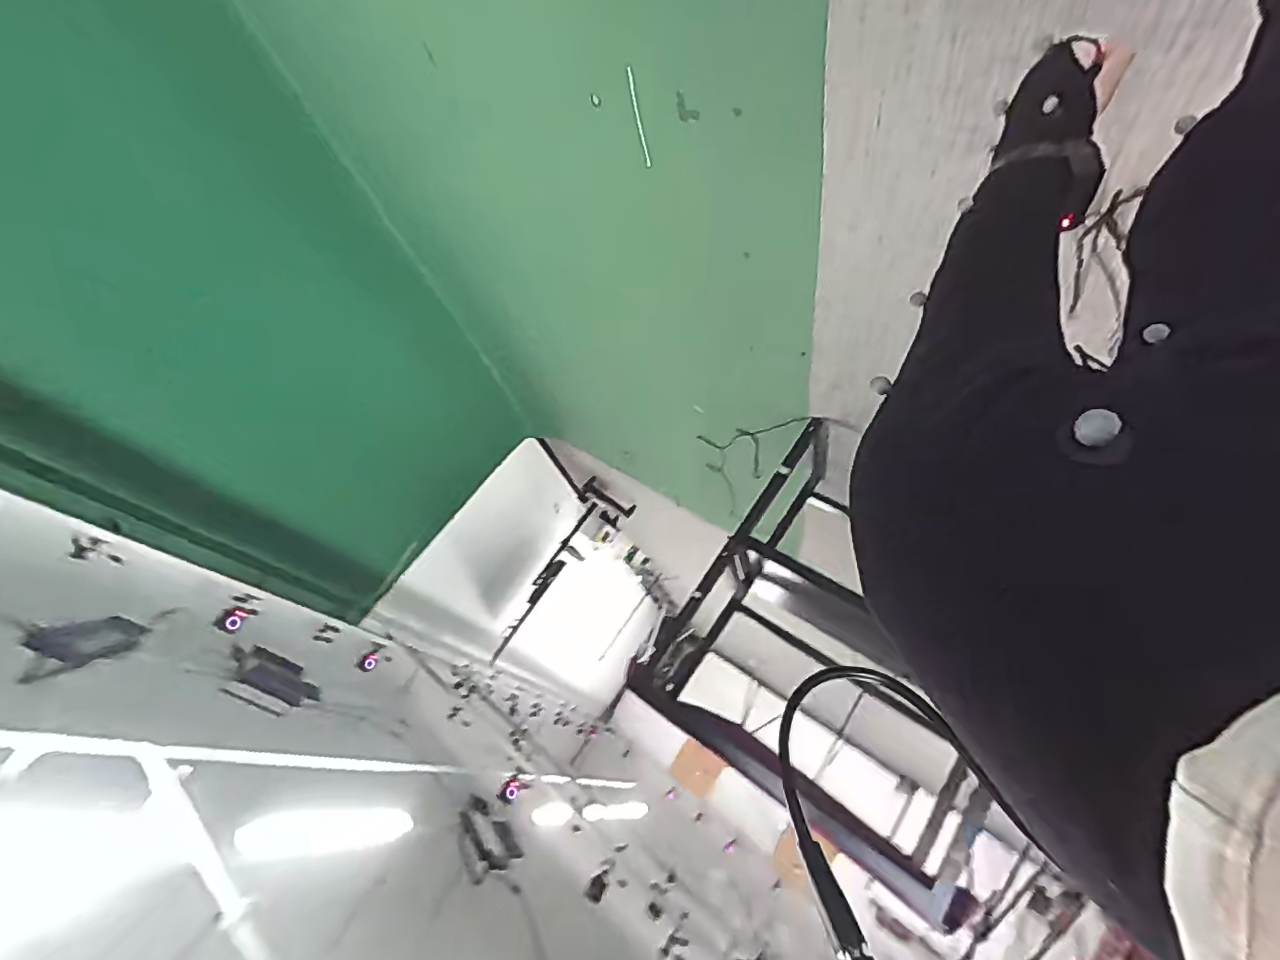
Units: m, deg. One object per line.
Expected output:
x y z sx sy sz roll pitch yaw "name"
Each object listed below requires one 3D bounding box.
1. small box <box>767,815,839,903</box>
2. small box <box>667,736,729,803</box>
0.555 1.267 1.820 0.179 0.176 0.168 27 161 32 "small box"
0.229 1.110 2.086 0.168 0.176 0.179 29 163 25 "small box"
